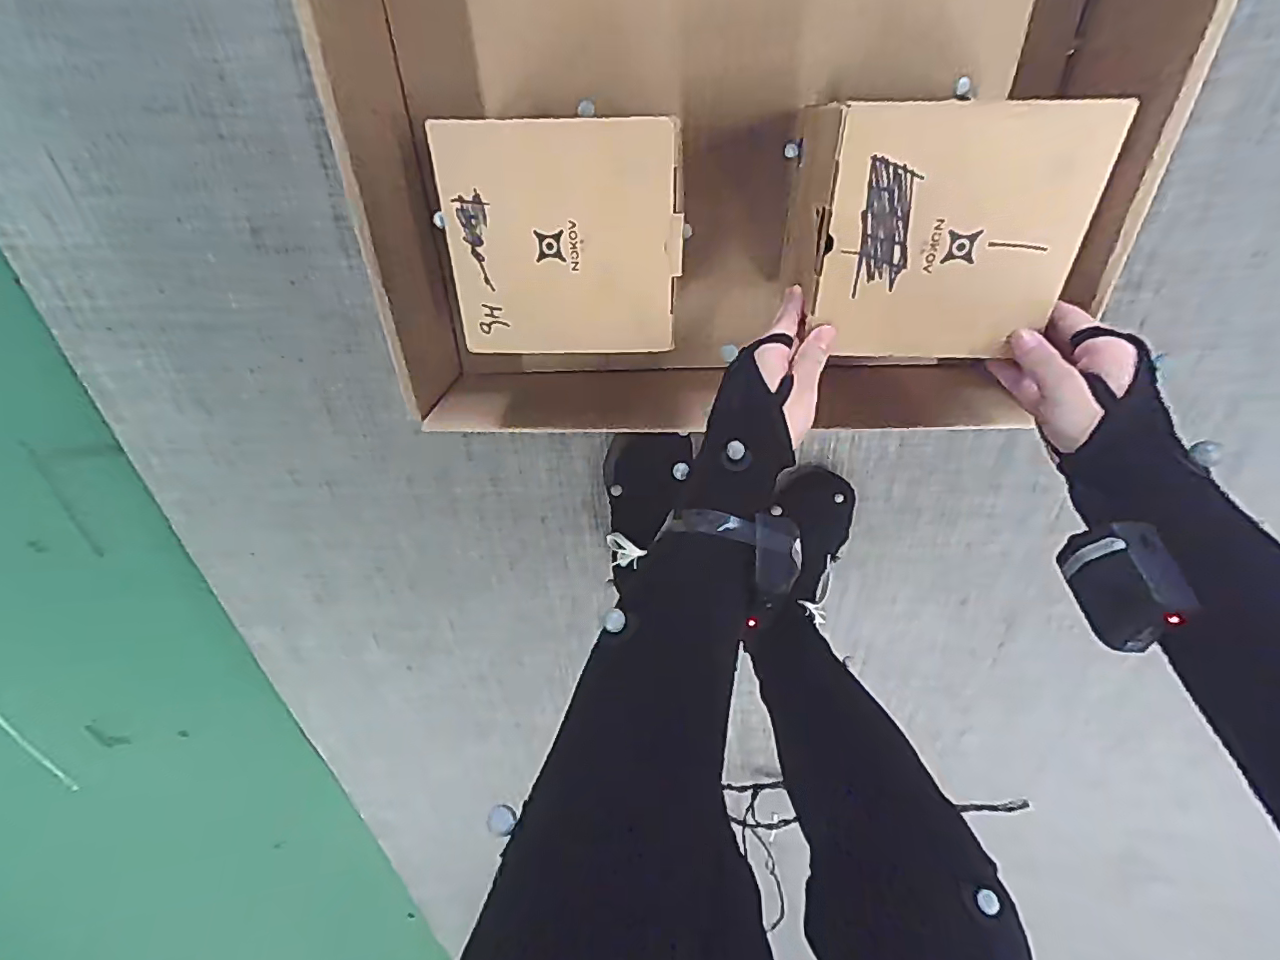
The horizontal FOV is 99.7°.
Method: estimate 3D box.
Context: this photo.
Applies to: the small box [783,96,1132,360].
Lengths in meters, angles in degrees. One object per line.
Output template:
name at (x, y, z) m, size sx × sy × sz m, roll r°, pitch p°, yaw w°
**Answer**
small box at (0.220, -0.208, 0.442) m, size 0.179 × 0.176 × 0.168 m, roll 3°, pitch 123°, yaw 5°
